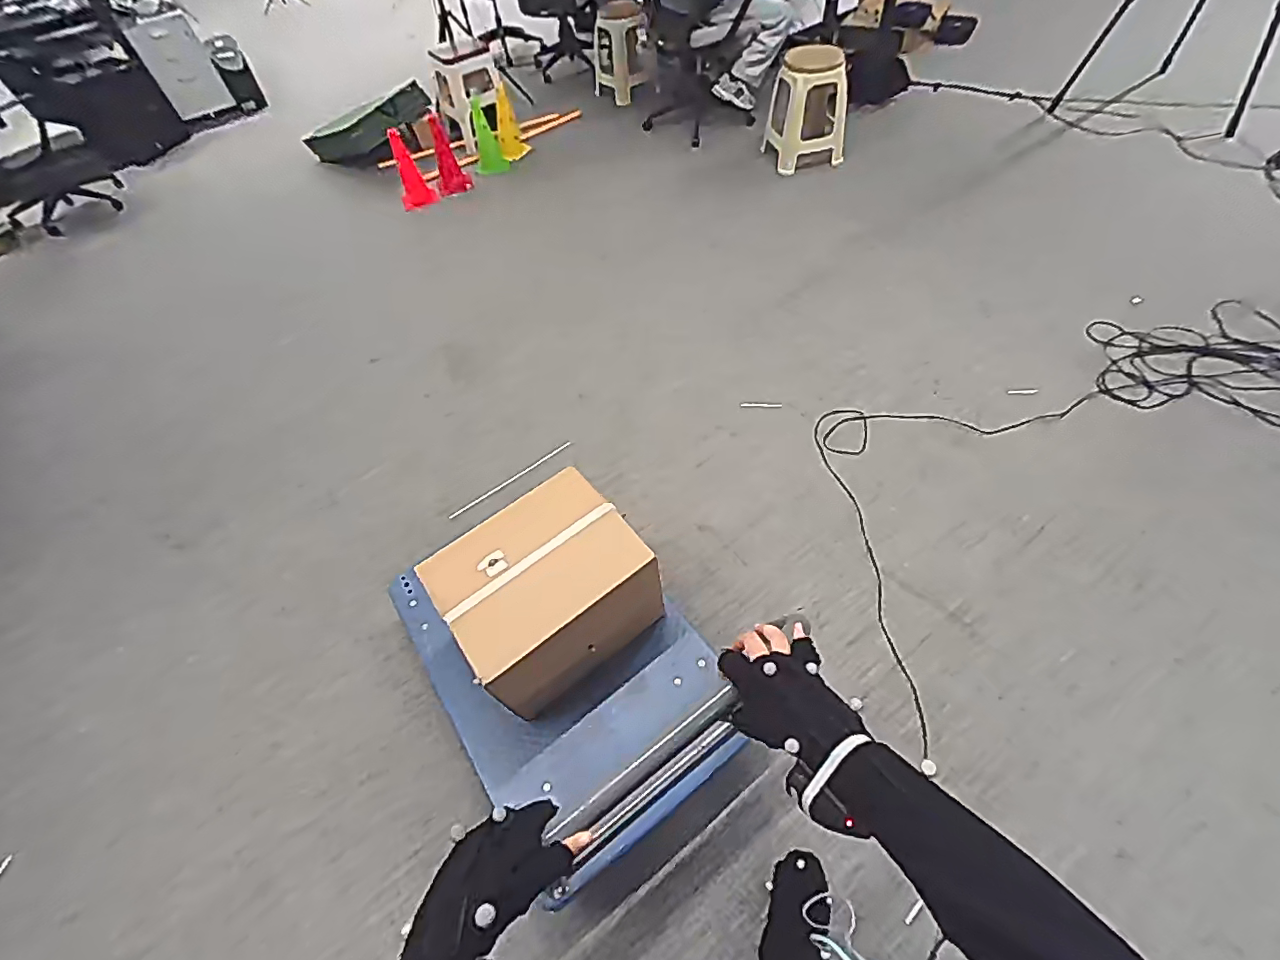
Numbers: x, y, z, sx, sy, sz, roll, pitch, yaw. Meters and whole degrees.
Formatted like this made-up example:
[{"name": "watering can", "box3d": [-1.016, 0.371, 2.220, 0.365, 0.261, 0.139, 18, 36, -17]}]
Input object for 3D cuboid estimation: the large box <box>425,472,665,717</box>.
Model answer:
[{"name": "large box", "box3d": [-0.195, 0.264, 1.245, 0.408, 0.320, 0.320, -36, 58, -16]}]
